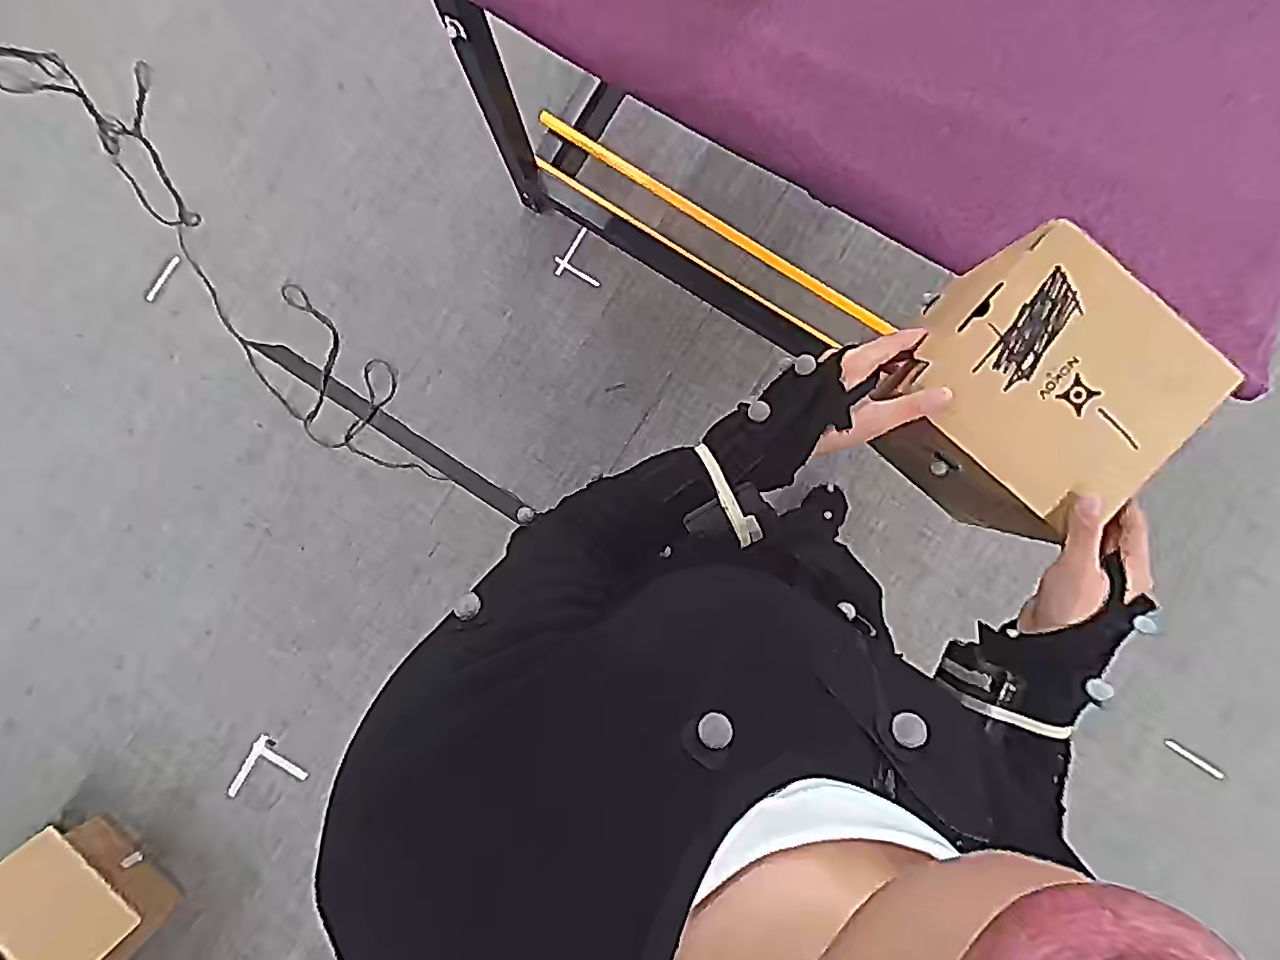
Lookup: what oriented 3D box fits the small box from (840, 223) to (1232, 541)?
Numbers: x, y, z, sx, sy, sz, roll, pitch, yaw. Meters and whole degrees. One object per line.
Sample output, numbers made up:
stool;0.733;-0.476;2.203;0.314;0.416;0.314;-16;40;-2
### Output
small box;0.308;-0.072;0.470;0.179;0.176;0.168;41;95;0
